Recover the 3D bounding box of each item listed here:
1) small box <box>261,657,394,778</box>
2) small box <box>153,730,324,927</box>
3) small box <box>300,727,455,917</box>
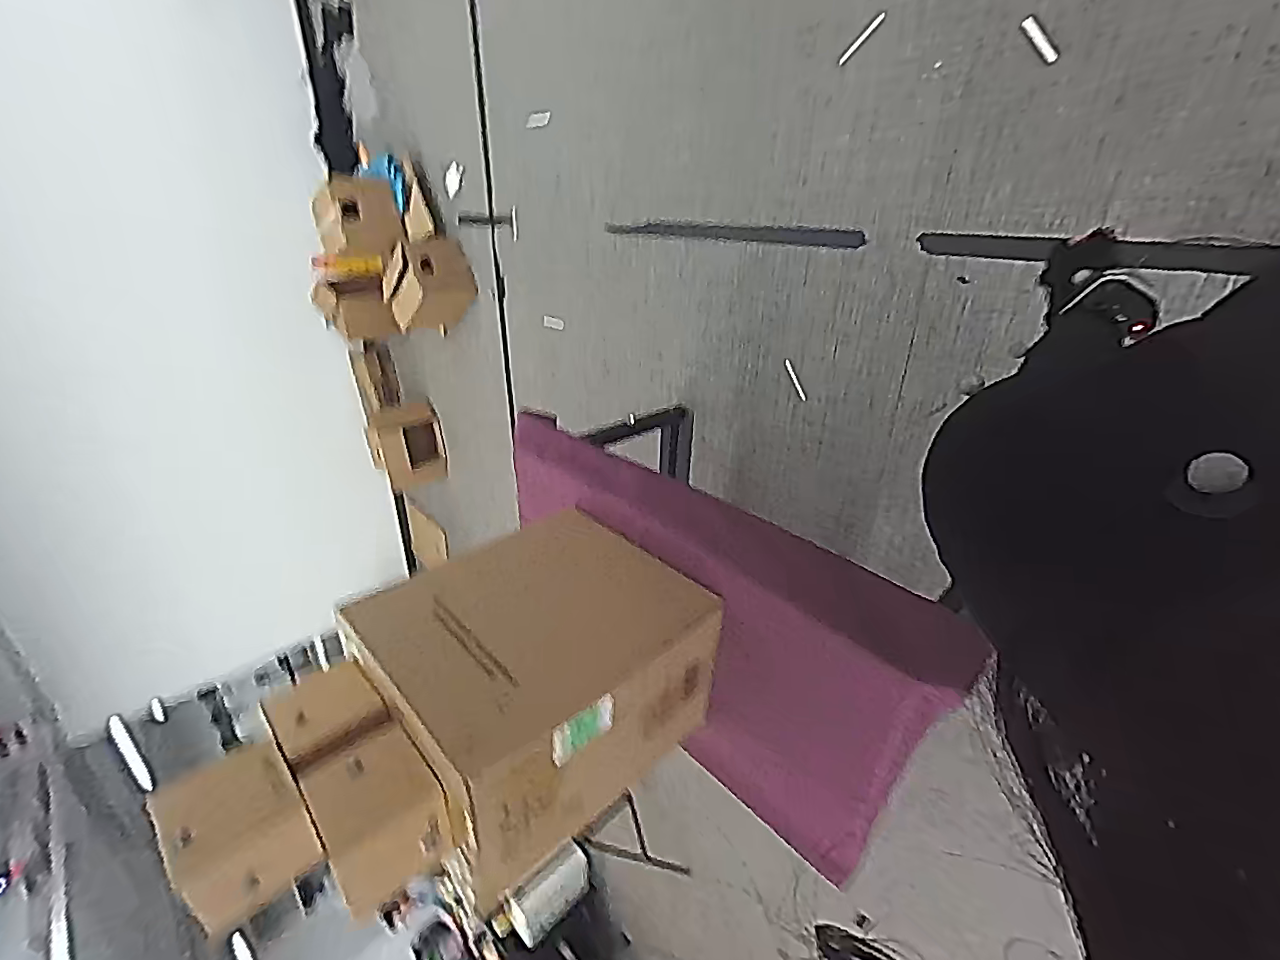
[{"bbox_3d":[-0.585,0.475,1.036,0.179,0.176,0.168,24,124,40],"label":"small box"},{"bbox_3d":[-0.640,0.555,0.879,0.168,0.176,0.179,32,130,33],"label":"small box"},{"bbox_3d":[-0.428,0.544,0.893,0.179,0.176,0.168,24,125,41],"label":"small box"}]
